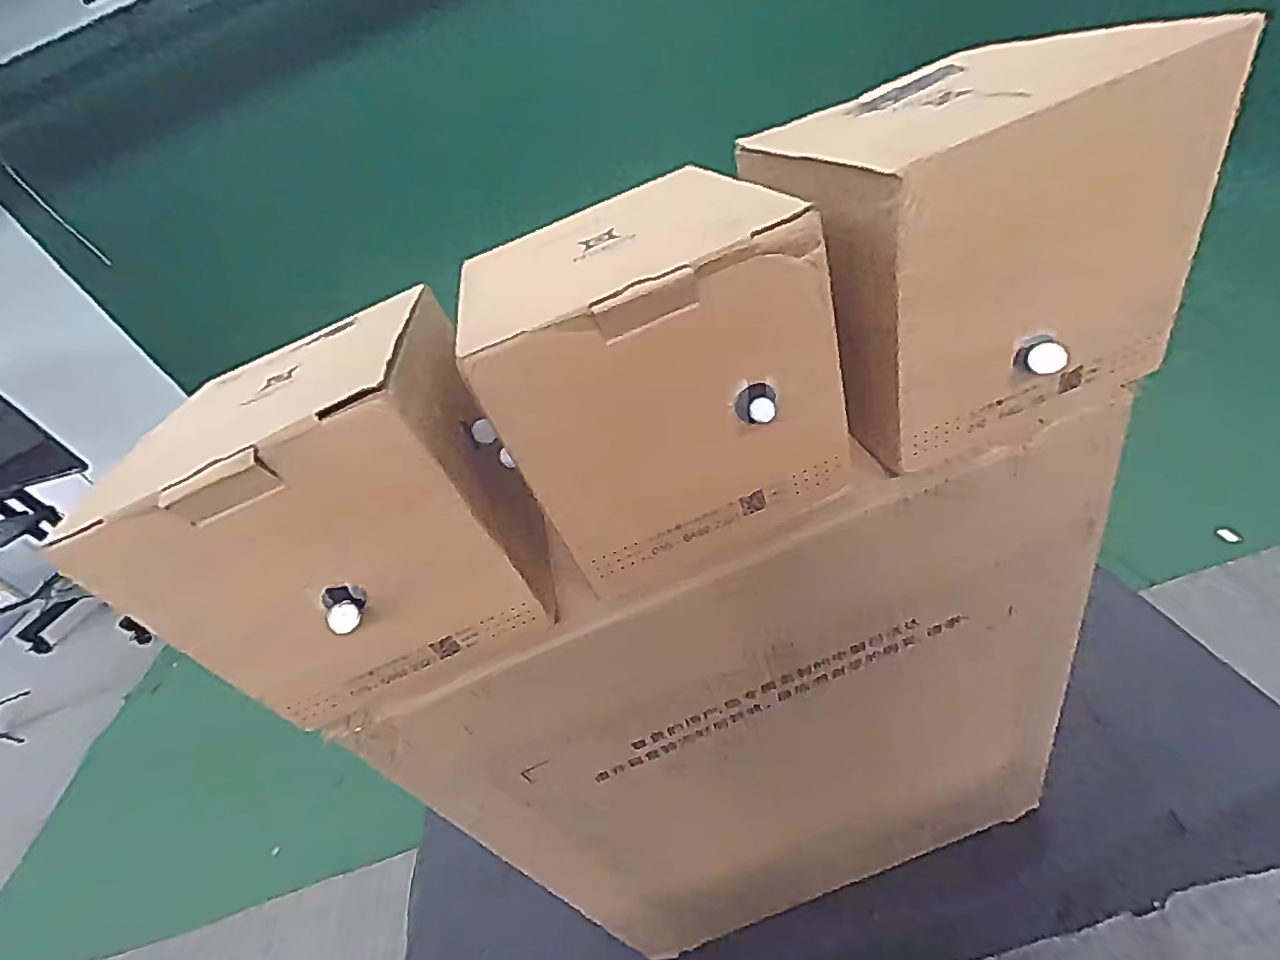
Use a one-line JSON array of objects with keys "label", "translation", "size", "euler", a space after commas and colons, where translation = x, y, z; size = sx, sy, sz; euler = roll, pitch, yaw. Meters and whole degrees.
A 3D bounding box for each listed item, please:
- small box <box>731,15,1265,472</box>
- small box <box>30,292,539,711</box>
[{"label": "small box", "translation": [0.173, -0.135, 0.325], "size": [0.168, 0.176, 0.179], "euler": [-23, 37, 1]}, {"label": "small box", "translation": [-0.174, 0.017, 0.338], "size": [0.168, 0.176, 0.179], "euler": [-24, 37, 3]}]
